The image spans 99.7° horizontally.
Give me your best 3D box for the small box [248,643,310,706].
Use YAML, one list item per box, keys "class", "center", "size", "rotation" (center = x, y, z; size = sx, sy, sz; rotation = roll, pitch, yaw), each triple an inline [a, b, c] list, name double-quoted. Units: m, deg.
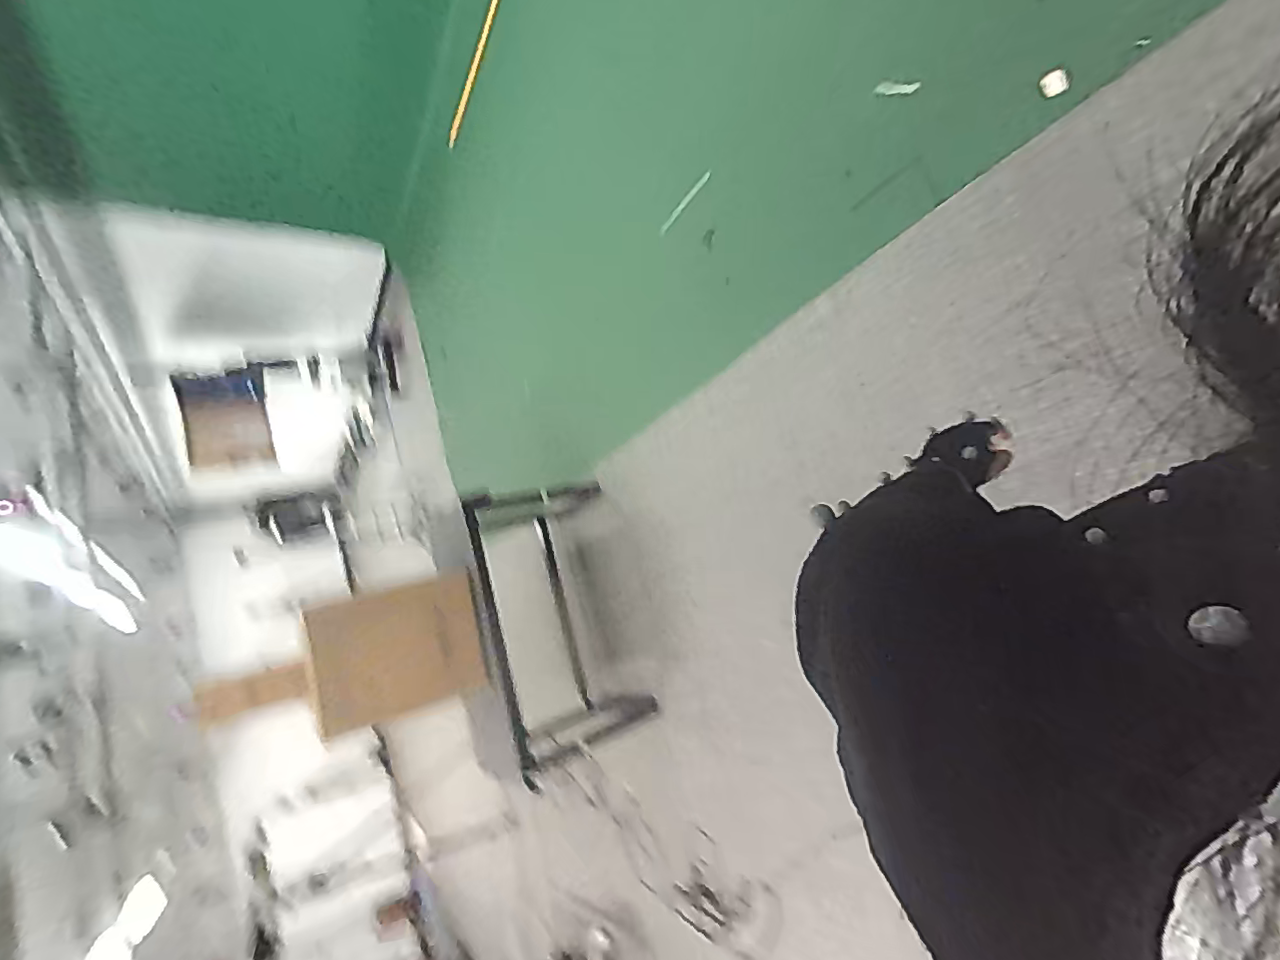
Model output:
- class: "small box"
  center: [-1.333, 0.712, 1.997]
  size: [0.179, 0.176, 0.168]
  rotation: [-17, 85, 51]
